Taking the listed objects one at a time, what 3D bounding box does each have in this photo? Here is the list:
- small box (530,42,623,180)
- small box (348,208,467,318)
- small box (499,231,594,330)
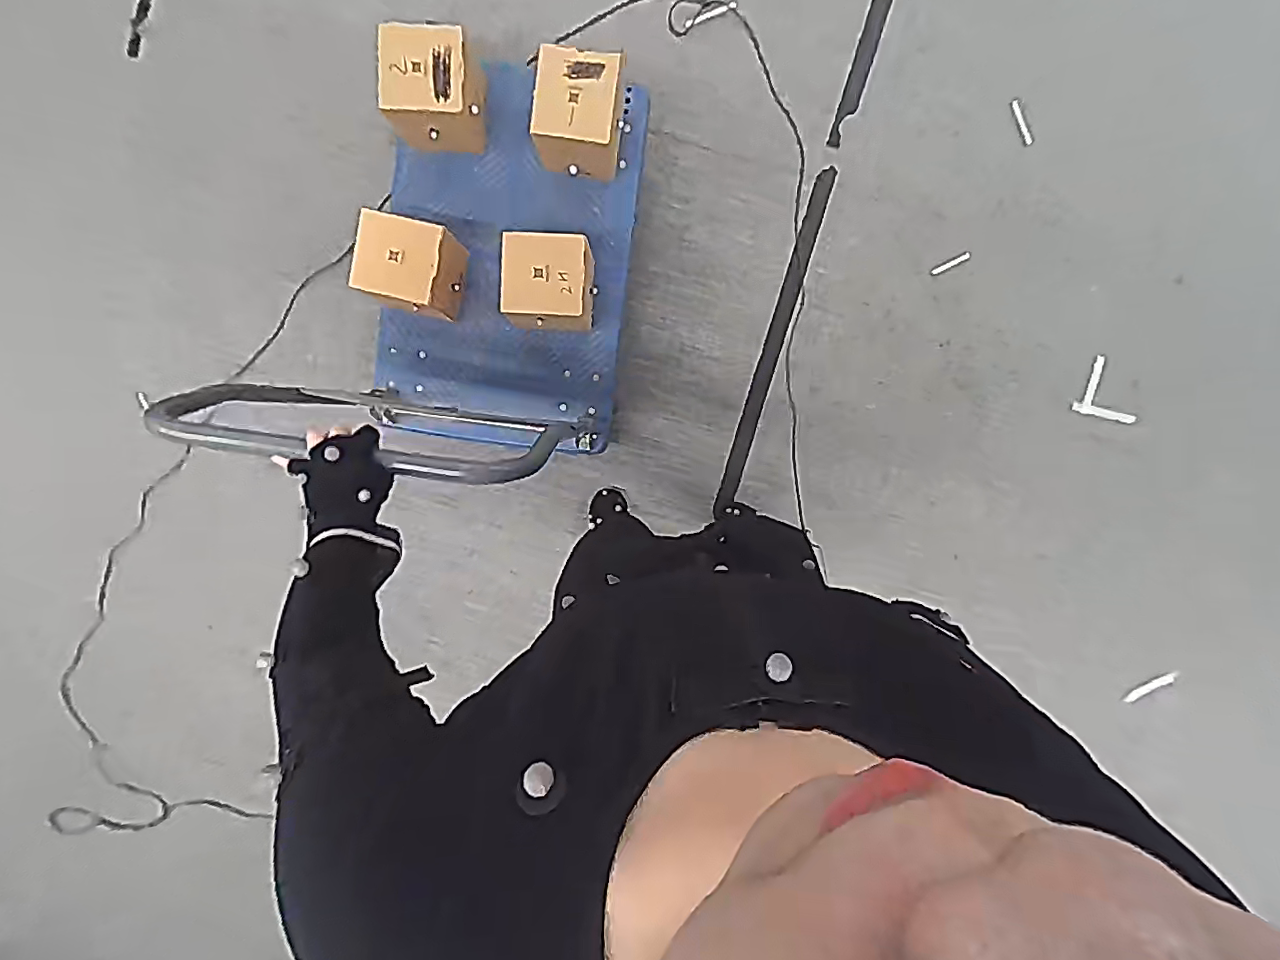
[{"bbox_3d":[-0.129,-0.786,1.167,0.168,0.176,0.179,9,96,0],"label":"small box"},{"bbox_3d":[-0.506,-0.471,1.200,0.179,0.176,0.168,12,94,-2],"label":"small box"},{"bbox_3d":[-0.201,-0.434,1.198,0.179,0.176,0.168,3,95,1],"label":"small box"}]
